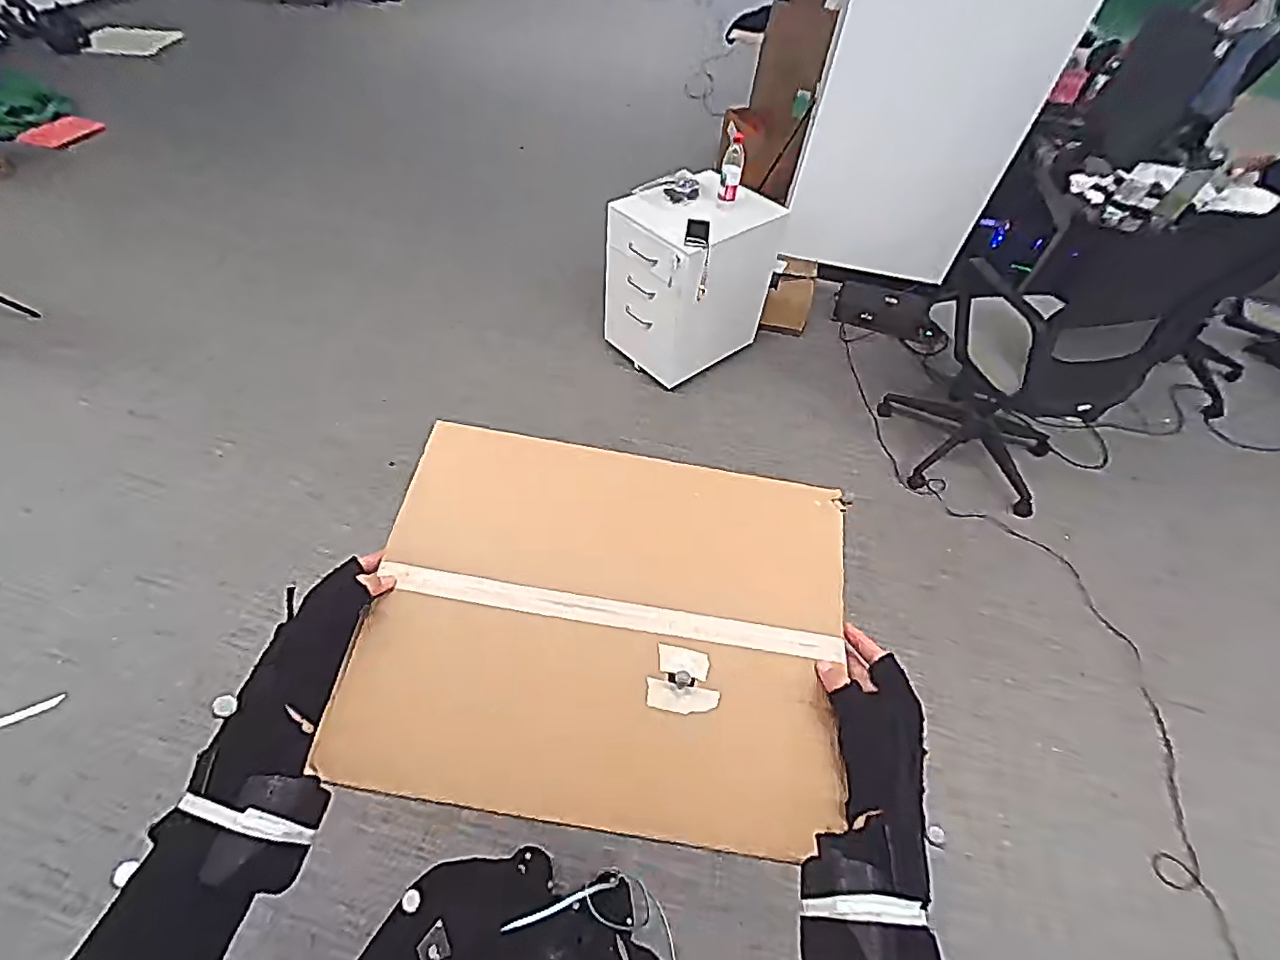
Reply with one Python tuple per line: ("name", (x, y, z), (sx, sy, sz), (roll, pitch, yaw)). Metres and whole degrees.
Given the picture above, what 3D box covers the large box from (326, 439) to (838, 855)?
("large box", (-0.038, 0.188, 0.609), (0.408, 0.320, 0.320), (10, 64, -1))
